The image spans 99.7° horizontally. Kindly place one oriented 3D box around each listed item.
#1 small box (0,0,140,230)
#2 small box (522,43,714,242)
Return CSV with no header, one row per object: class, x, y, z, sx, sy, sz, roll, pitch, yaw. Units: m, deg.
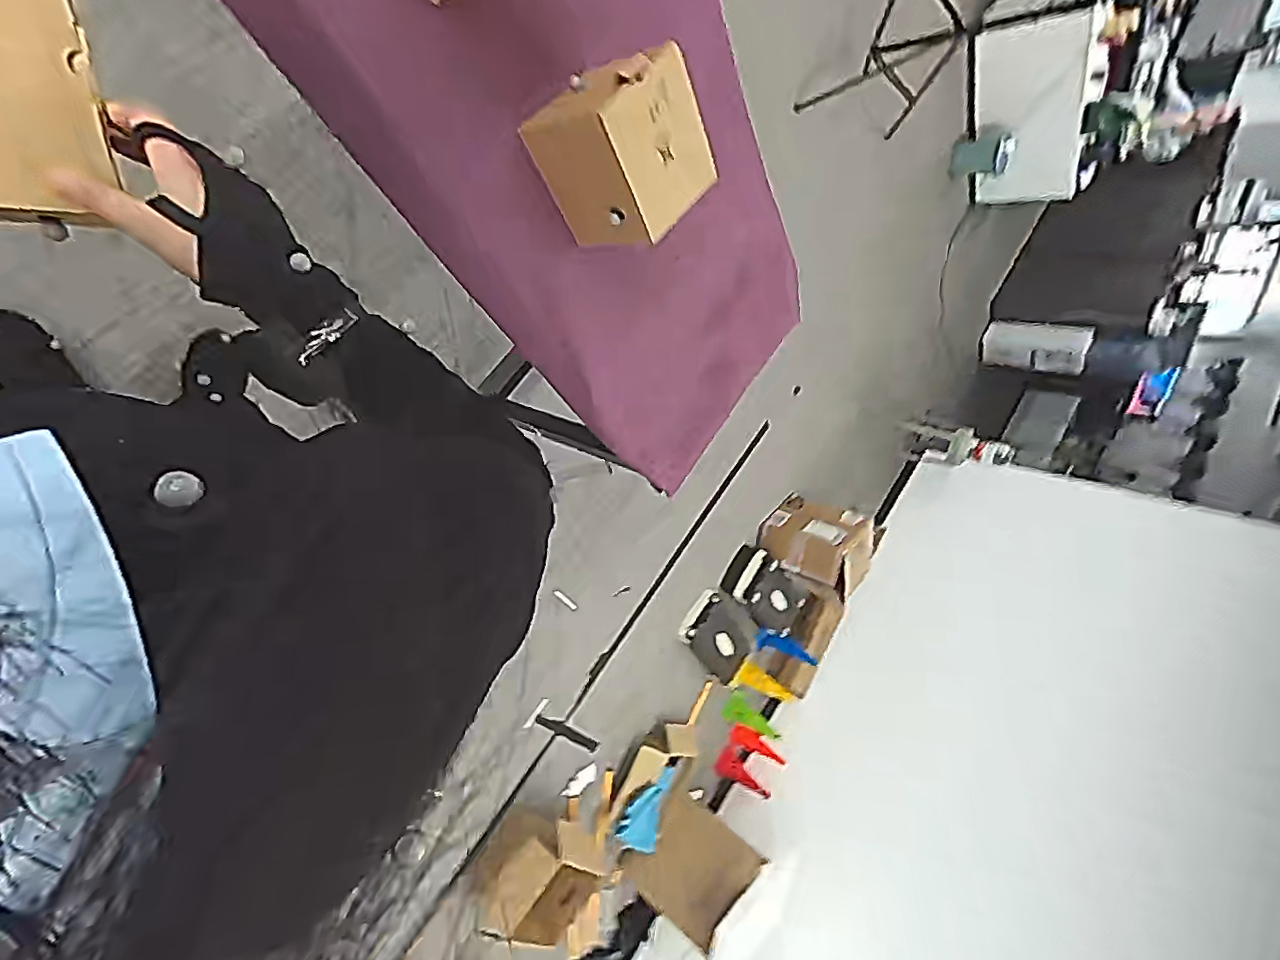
small box,-0.438,-0.252,0.329,0.179,0.176,0.168,-14,116,-40
small box,-0.029,-0.464,0.765,0.168,0.176,0.179,-53,136,-19
